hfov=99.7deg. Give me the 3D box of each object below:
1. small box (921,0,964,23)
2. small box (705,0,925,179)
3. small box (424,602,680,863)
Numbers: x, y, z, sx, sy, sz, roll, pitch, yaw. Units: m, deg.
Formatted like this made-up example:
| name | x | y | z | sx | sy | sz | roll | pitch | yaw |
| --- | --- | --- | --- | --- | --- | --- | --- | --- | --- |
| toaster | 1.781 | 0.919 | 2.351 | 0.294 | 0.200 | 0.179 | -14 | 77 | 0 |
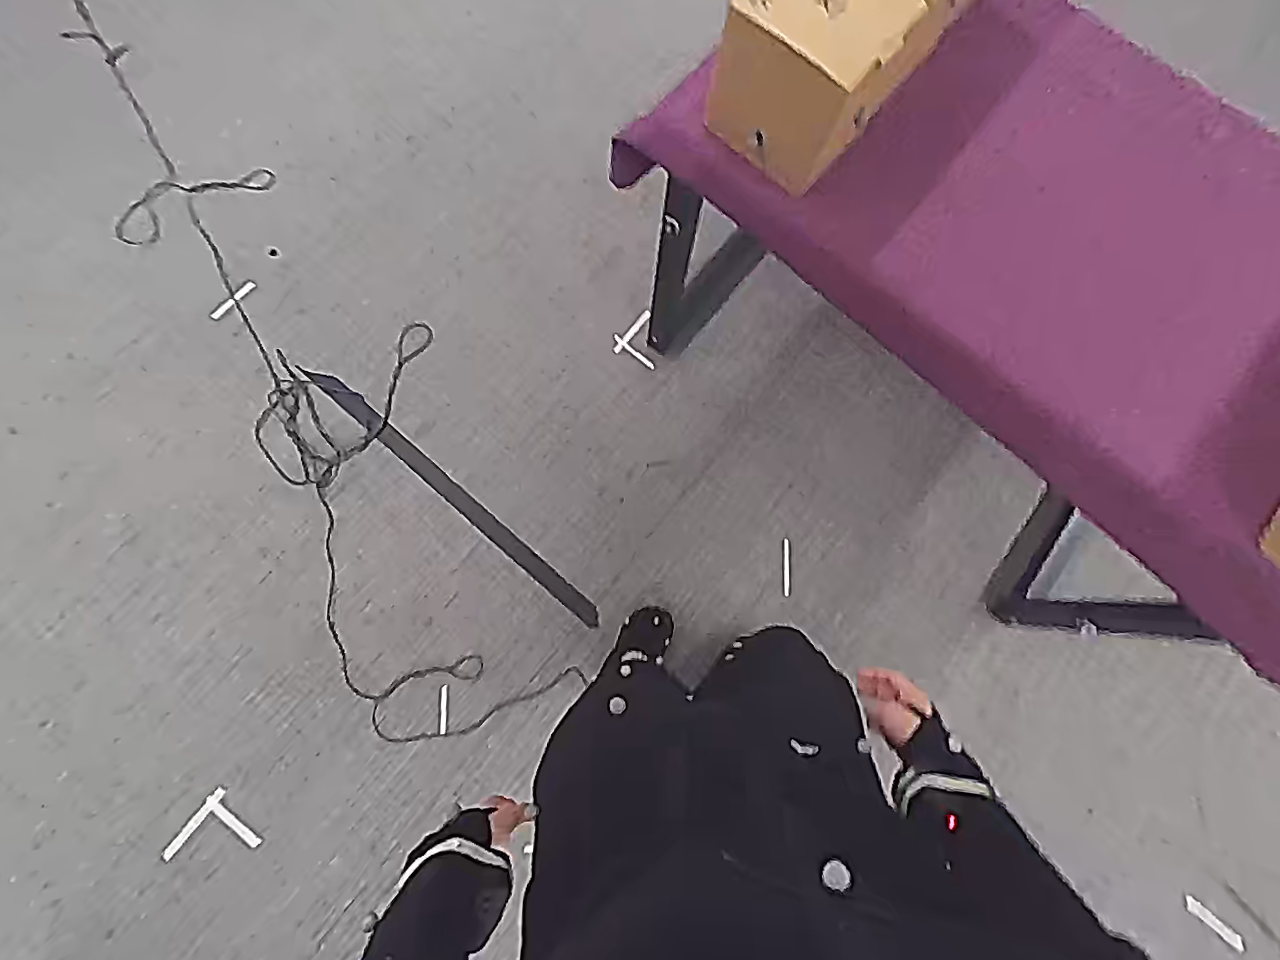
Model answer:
| name | x | y | z | sx | sy | sz | roll | pitch | yaw |
| --- | --- | --- | --- | --- | --- | --- | --- | --- | --- |
| small box | 0.437 | -0.807 | 0.756 | 0.179 | 0.176 | 0.168 | 42 | 82 | 4 |
| small box | 0.208 | -0.527 | 0.692 | 0.179 | 0.176 | 0.168 | 41 | 79 | 4 |
| small box | -0.088 | 0.245 | 0.570 | 0.179 | 0.168 | 0.176 | -31 | 84 | 19 |
